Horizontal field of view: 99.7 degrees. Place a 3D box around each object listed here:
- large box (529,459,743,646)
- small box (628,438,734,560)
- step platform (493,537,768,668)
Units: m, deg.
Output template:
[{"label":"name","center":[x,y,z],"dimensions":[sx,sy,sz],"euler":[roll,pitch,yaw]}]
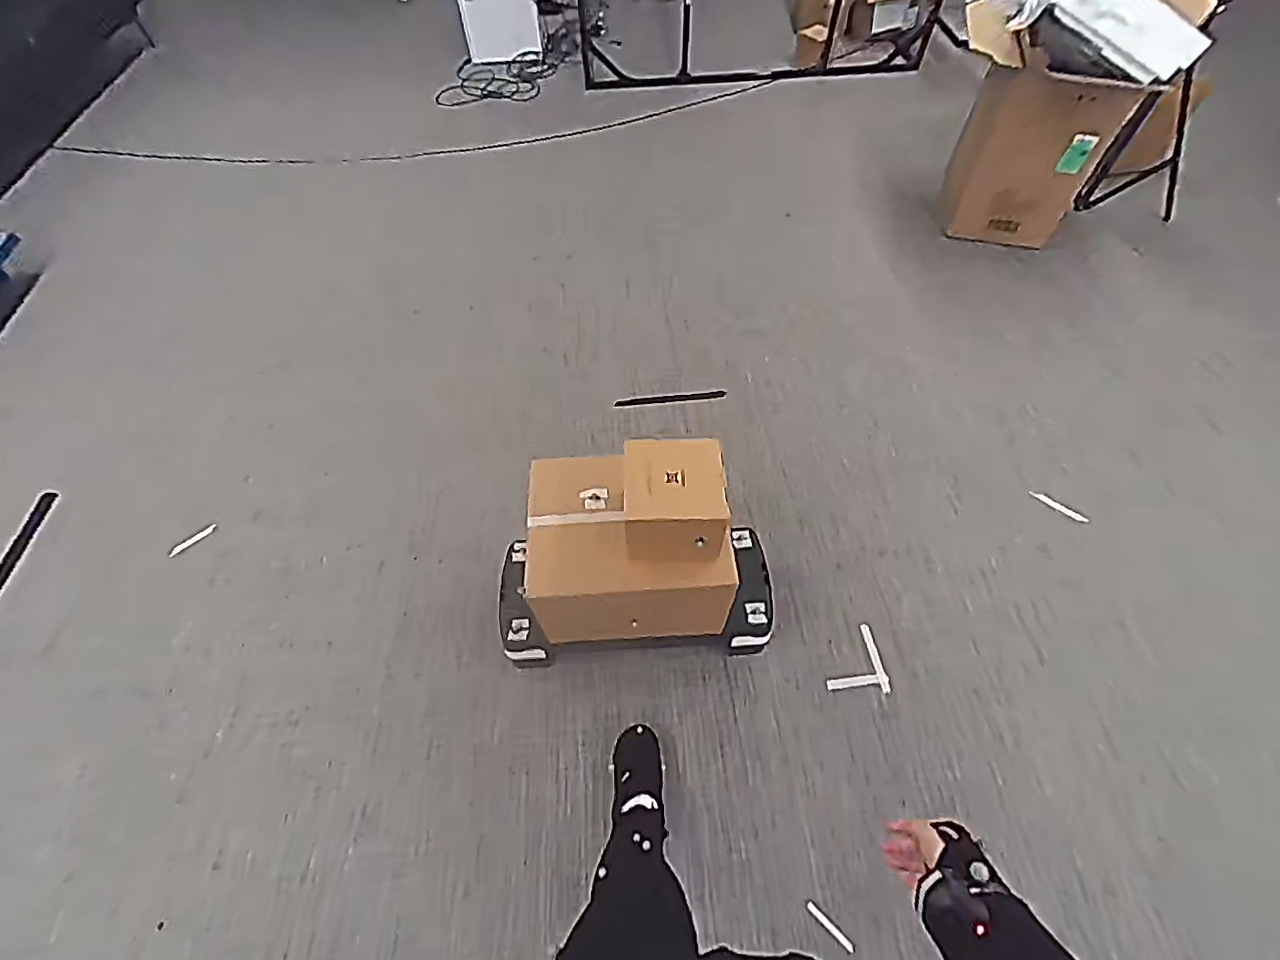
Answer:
[{"label":"large box","center":[-0.011,0.163,1.199],"dimensions":[0.408,0.320,0.320],"euler":[-5,56,0]},{"label":"small box","center":[0.069,0.038,0.985],"dimensions":[0.179,0.176,0.168],"euler":[-1,57,2]},{"label":"step platform","center":[-0.020,0.308,1.389],"dimensions":[0.684,0.204,0.286],"euler":[0,57,3]}]
